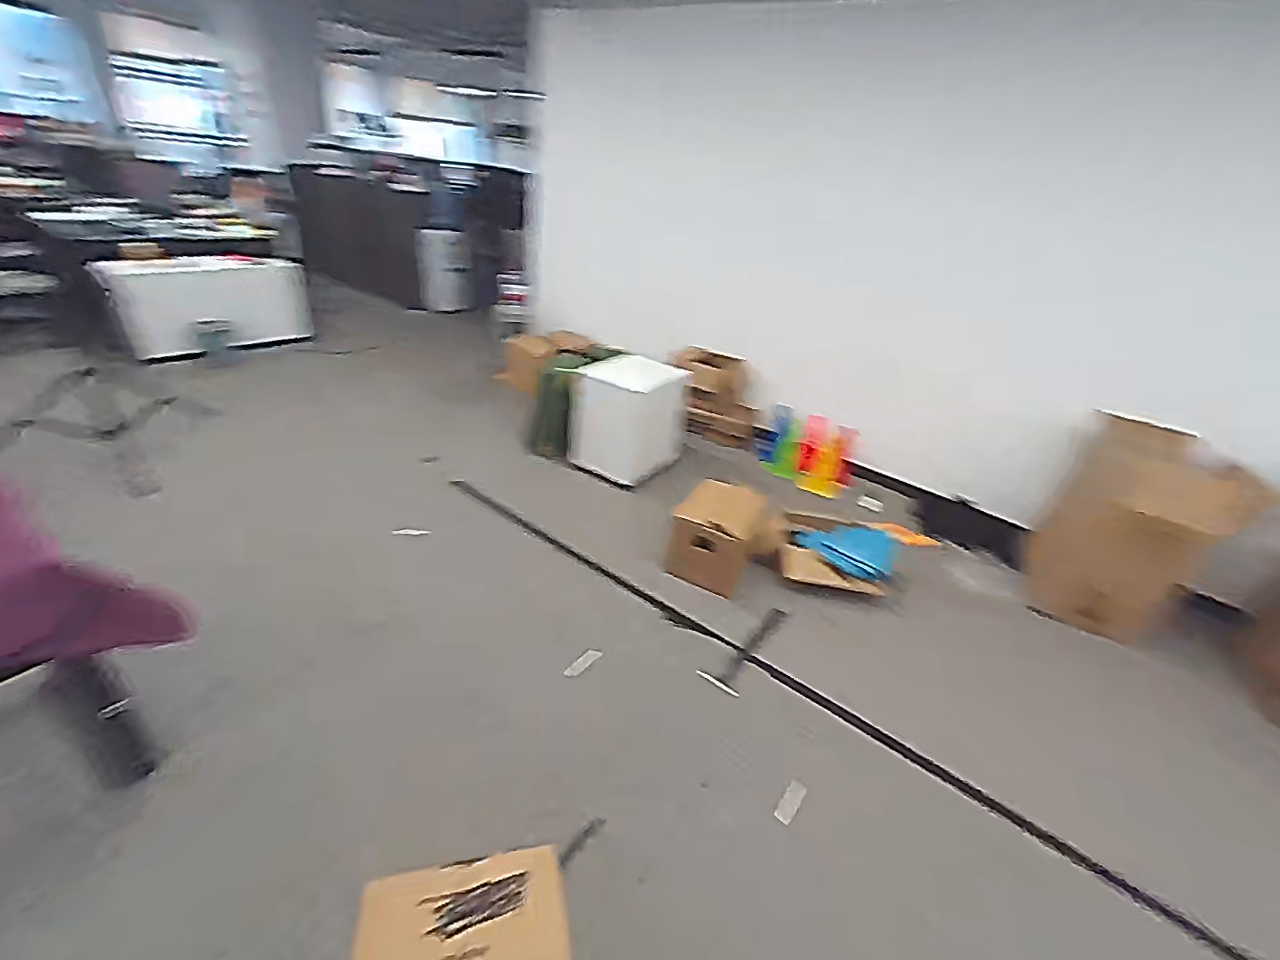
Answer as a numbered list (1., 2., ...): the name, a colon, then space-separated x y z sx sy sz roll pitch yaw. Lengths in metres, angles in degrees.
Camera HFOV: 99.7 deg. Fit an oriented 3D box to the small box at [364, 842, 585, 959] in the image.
1. small box: -0.133 0.445 0.434 0.168 0.176 0.179 0 17 -18
